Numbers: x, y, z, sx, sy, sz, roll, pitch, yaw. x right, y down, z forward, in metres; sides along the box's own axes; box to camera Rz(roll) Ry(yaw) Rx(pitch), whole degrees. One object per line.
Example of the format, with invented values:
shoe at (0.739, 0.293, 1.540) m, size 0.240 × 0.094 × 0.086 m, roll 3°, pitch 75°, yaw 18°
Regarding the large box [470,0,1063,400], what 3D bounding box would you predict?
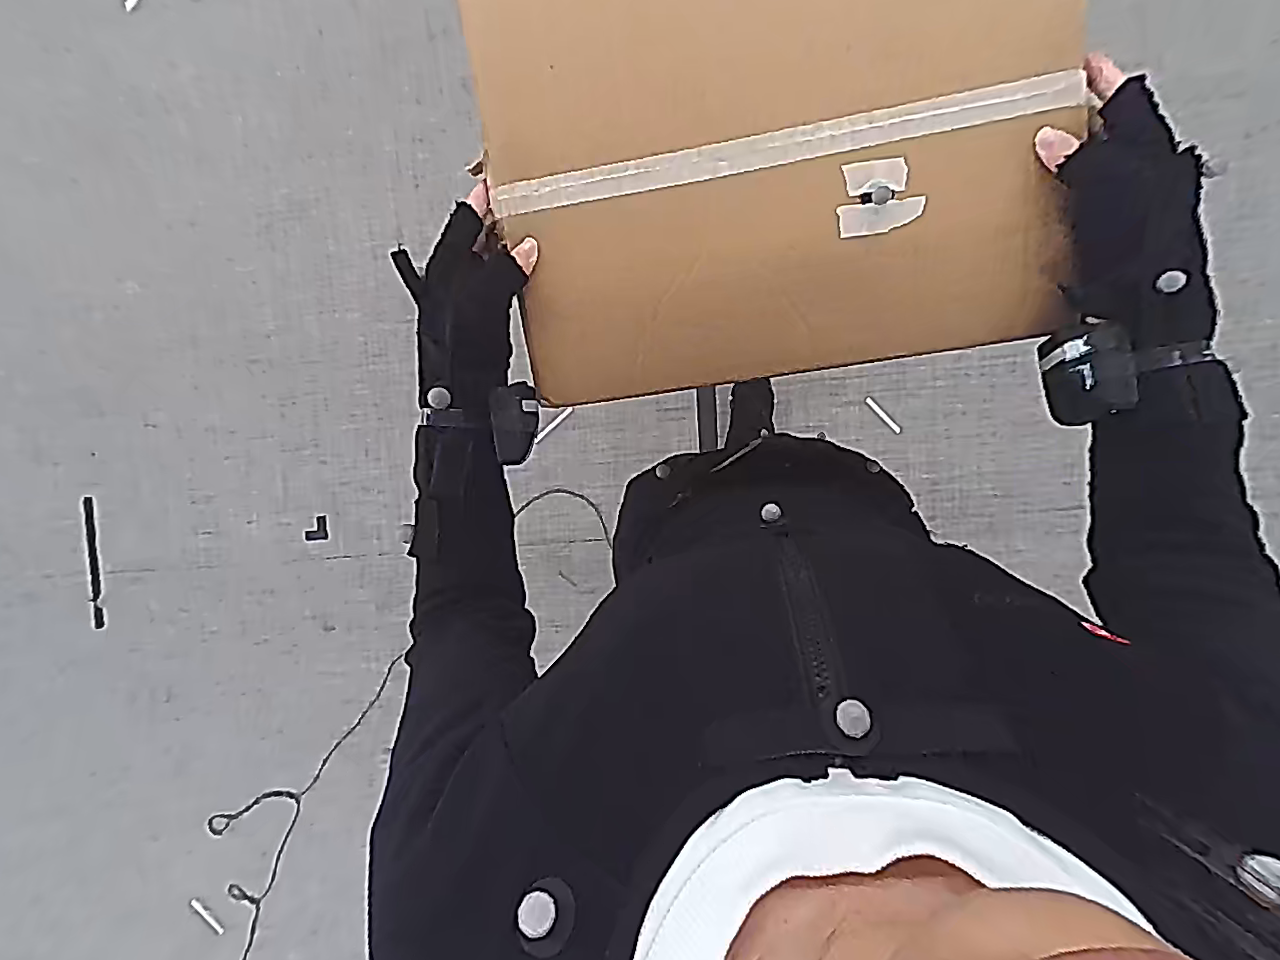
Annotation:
large box at (0.104, -0.275, 0.540) m, size 0.408 × 0.320 × 0.320 m, roll -8°, pitch 103°, yaw 6°
